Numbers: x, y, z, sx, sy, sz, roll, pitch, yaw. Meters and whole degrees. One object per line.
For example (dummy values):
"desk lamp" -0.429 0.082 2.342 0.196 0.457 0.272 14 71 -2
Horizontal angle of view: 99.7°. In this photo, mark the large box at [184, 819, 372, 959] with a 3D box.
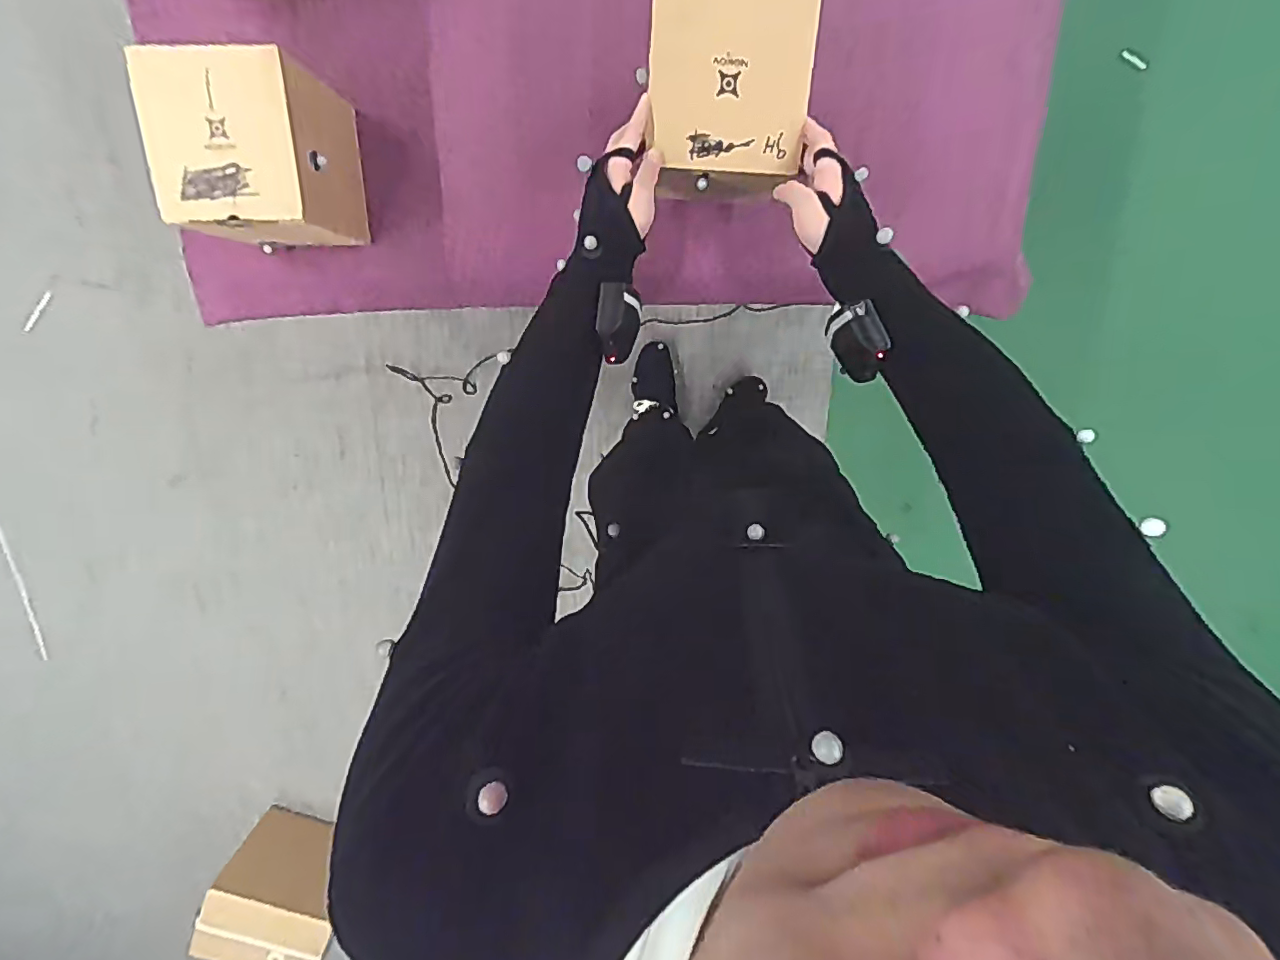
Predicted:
"large box" -1.209 1.439 1.834 0.408 0.320 0.320 22 104 -8

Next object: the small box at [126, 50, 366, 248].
"small box" -0.465 -0.393 0.672 0.168 0.176 0.179 -1 104 -1

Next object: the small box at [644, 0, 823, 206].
"small box" 0.092 -0.431 0.621 0.168 0.176 0.179 3 108 -2
